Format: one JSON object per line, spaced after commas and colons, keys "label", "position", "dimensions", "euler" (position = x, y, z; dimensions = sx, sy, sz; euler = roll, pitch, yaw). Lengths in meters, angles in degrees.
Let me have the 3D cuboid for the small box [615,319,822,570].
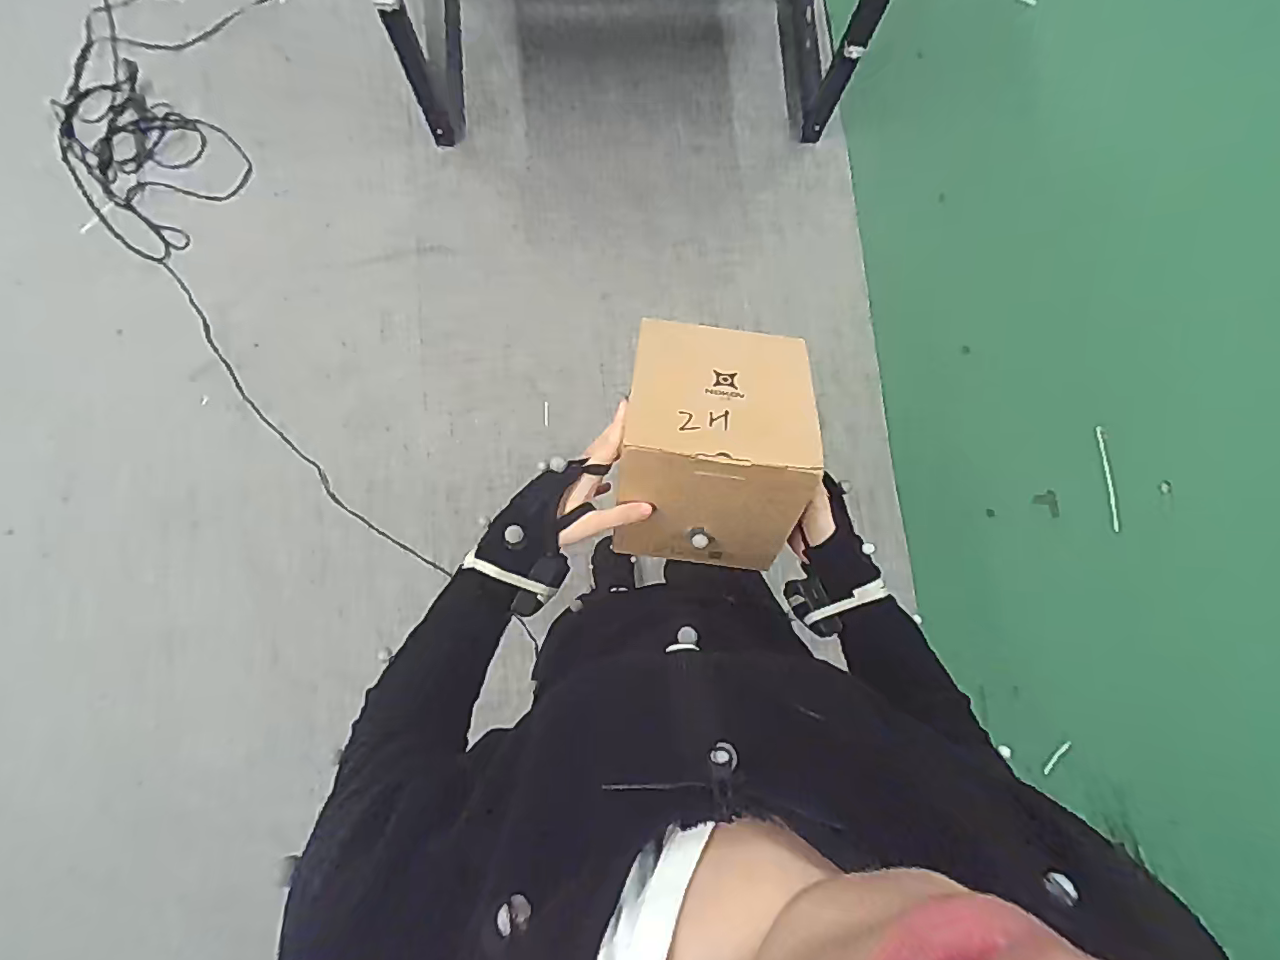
{"label": "small box", "position": [0.069, -0.033, 0.553], "dimensions": [0.168, 0.176, 0.179], "euler": [9, 52, -1]}
